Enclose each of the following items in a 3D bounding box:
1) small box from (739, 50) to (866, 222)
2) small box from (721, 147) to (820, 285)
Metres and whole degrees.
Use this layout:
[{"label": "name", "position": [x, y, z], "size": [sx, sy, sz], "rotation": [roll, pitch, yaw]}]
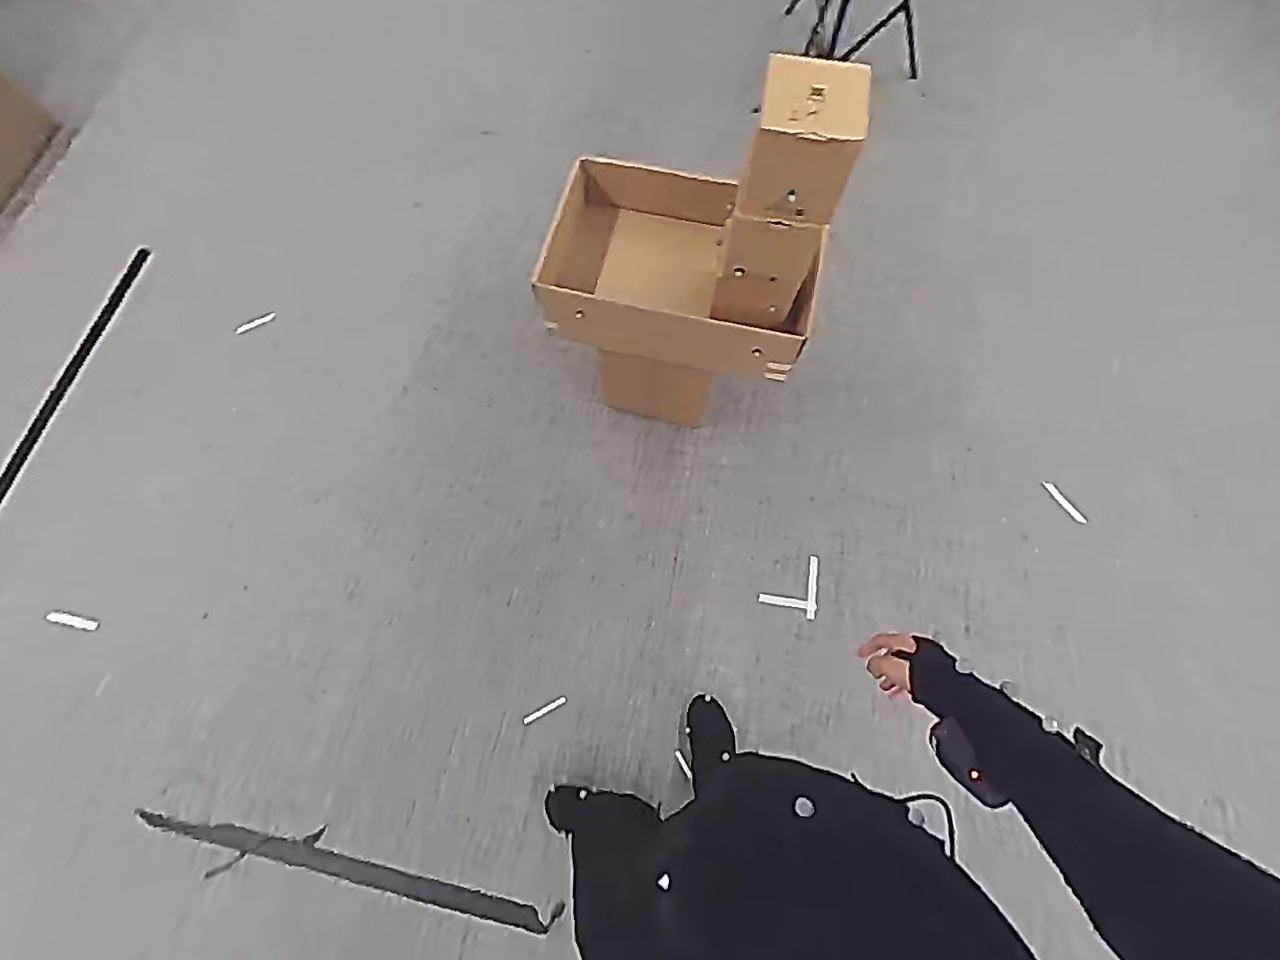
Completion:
[{"label": "small box", "position": [0.271, -0.580, 0.926], "size": [0.168, 0.176, 0.179], "rotation": [9, 73, 3]}, {"label": "small box", "position": [0.260, -0.518, 1.079], "size": [0.168, 0.176, 0.179], "rotation": [10, 72, 3]}]
